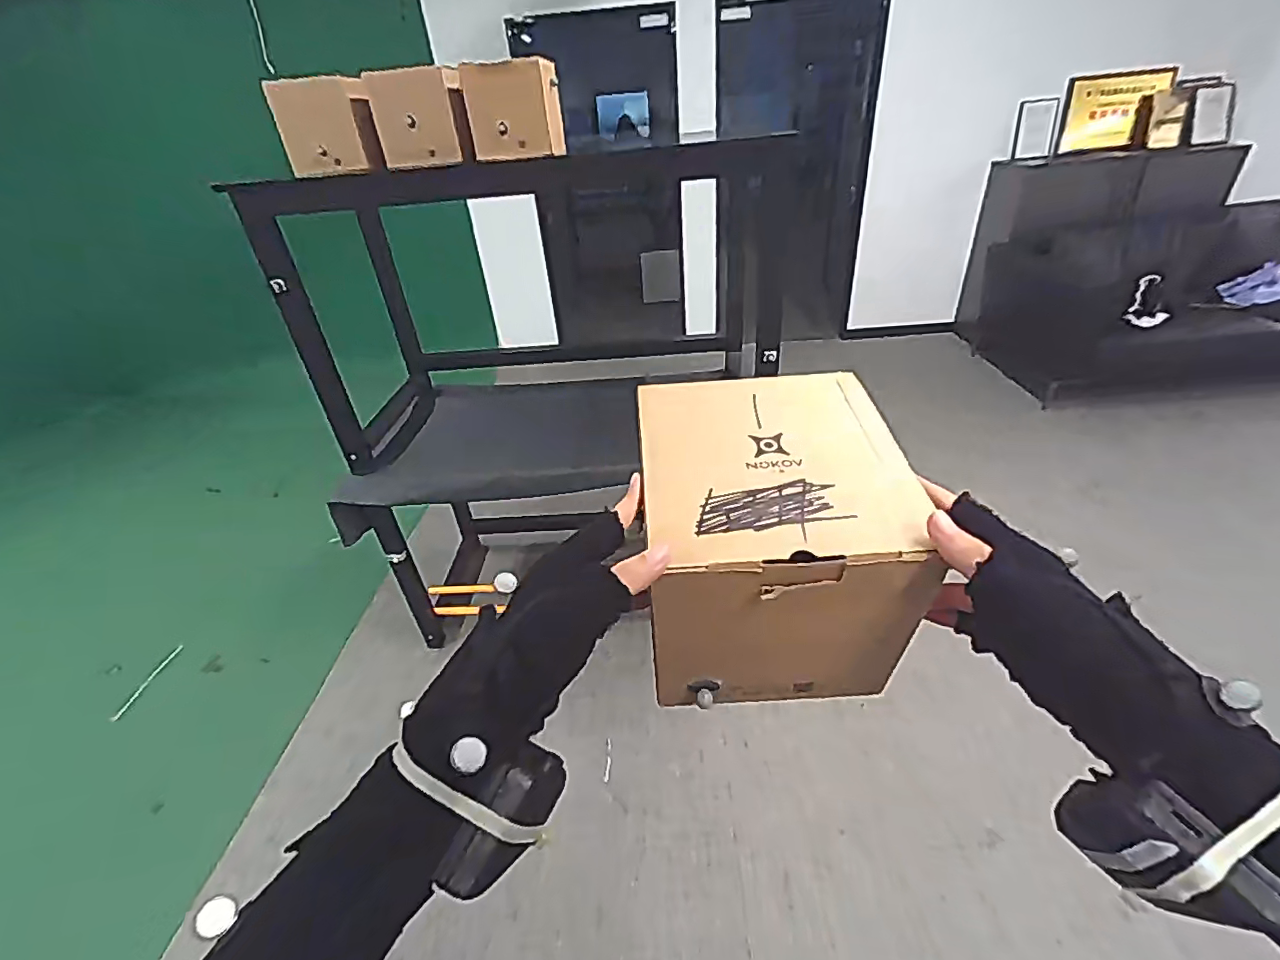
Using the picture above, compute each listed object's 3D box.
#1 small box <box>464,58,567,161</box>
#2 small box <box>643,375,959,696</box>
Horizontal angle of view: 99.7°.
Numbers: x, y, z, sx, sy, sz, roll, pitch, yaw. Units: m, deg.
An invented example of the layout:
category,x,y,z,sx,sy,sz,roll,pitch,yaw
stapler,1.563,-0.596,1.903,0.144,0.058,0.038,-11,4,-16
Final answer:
category,x,y,z,sx,sy,sz,roll,pitch,yaw
small box,-0.256,-0.788,1.159,0.168,0.176,0.179,-2,34,4
small box,0.091,0.044,0.399,0.168,0.176,0.179,-3,42,0
